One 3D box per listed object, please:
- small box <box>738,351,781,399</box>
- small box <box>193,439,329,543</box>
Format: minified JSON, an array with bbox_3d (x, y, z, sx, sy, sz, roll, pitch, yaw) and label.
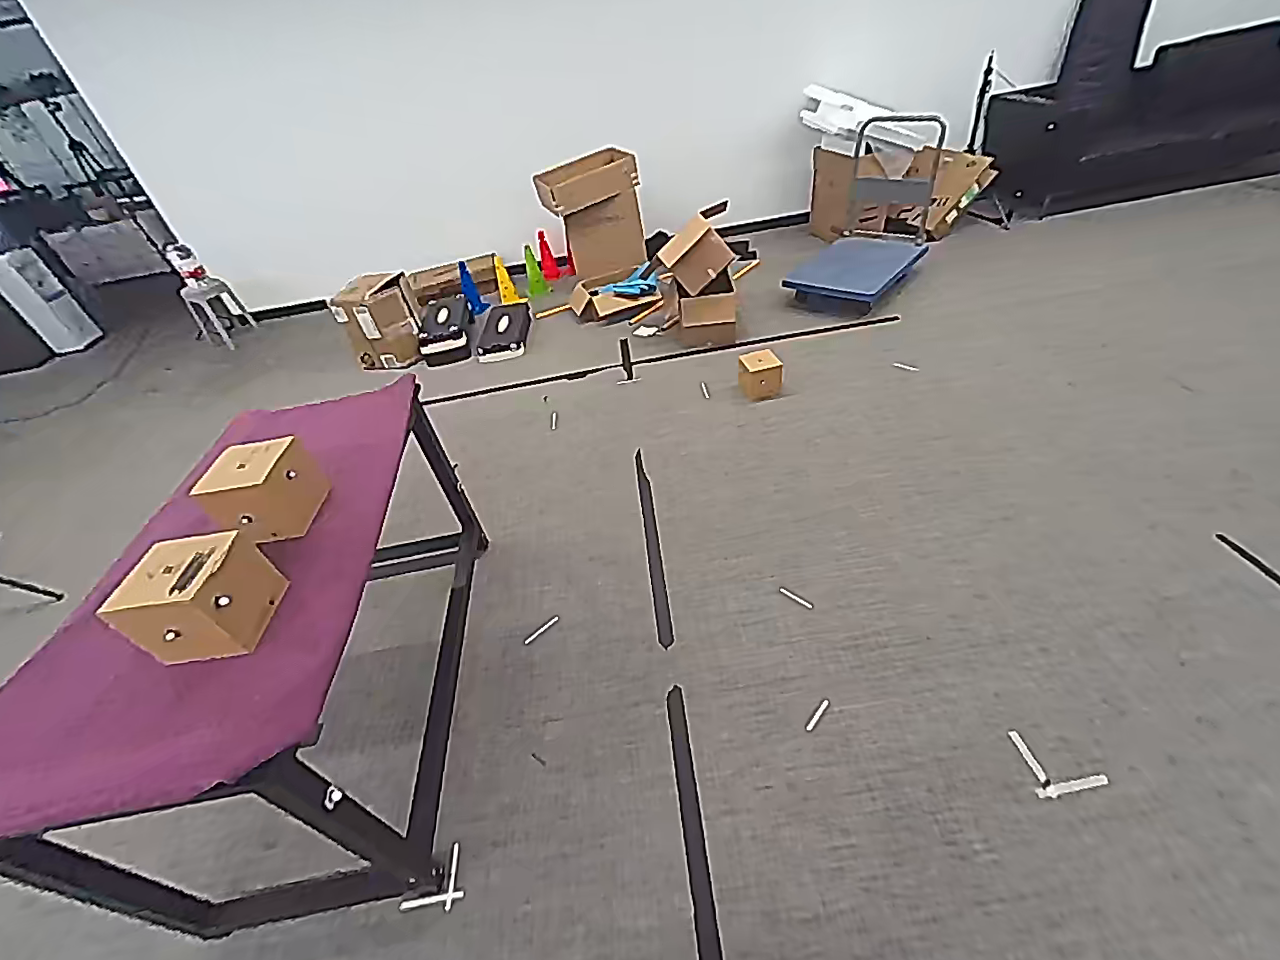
[{"bbox_3d":[0.602,-0.520,2.724,0.168,0.176,0.179,-15,40,-5],"label":"small box"},{"bbox_3d":[-0.862,0.032,1.256,0.168,0.176,0.179,-8,40,2],"label":"small box"}]
